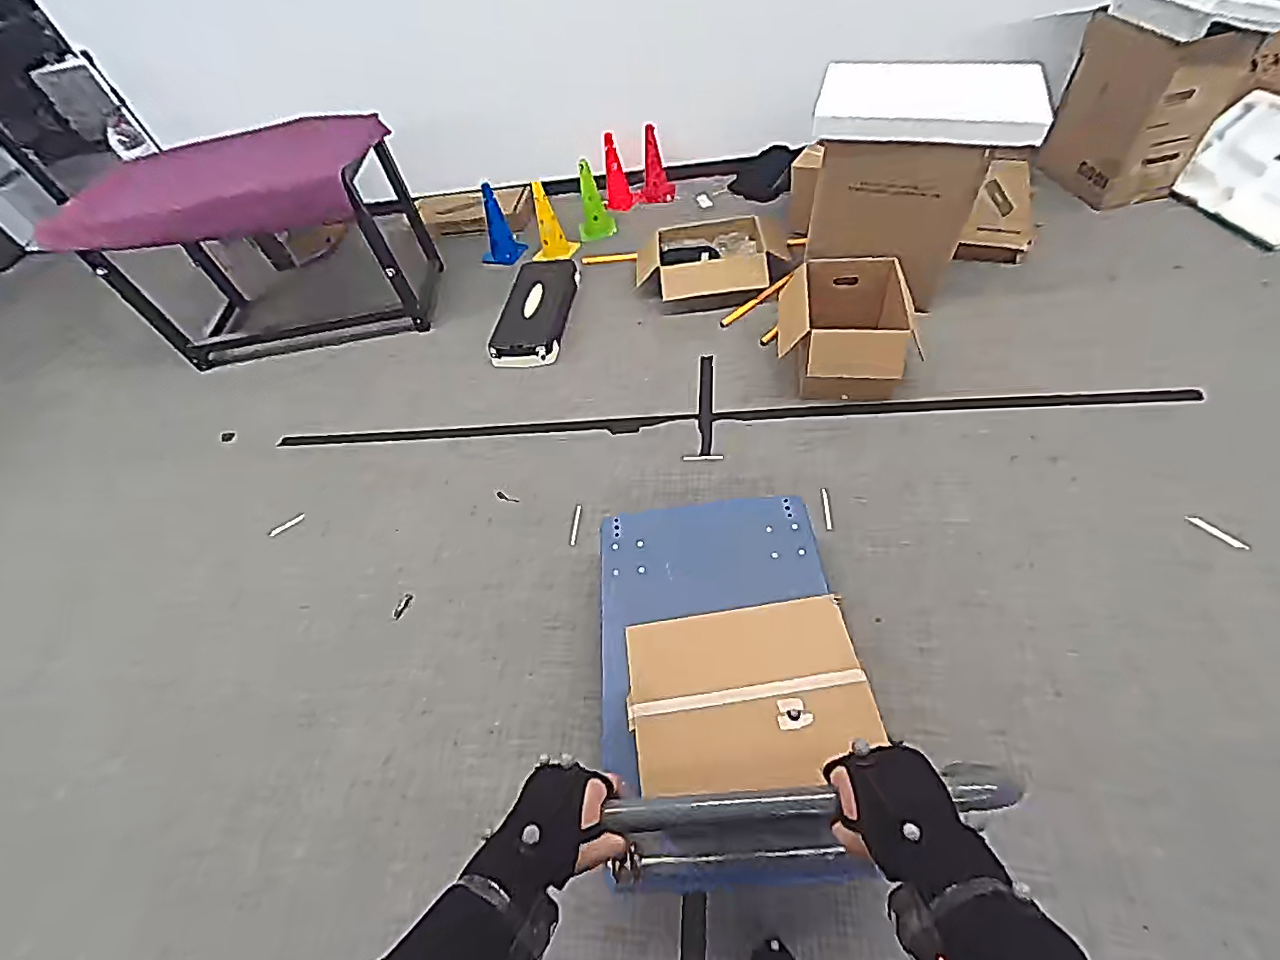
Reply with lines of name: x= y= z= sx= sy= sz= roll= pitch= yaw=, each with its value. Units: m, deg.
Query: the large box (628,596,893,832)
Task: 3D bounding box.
large box: x=0.206 y=0.467 z=1.065 sx=0.408 sy=0.320 sz=0.320 roll=-9 pitch=52 yaw=1
